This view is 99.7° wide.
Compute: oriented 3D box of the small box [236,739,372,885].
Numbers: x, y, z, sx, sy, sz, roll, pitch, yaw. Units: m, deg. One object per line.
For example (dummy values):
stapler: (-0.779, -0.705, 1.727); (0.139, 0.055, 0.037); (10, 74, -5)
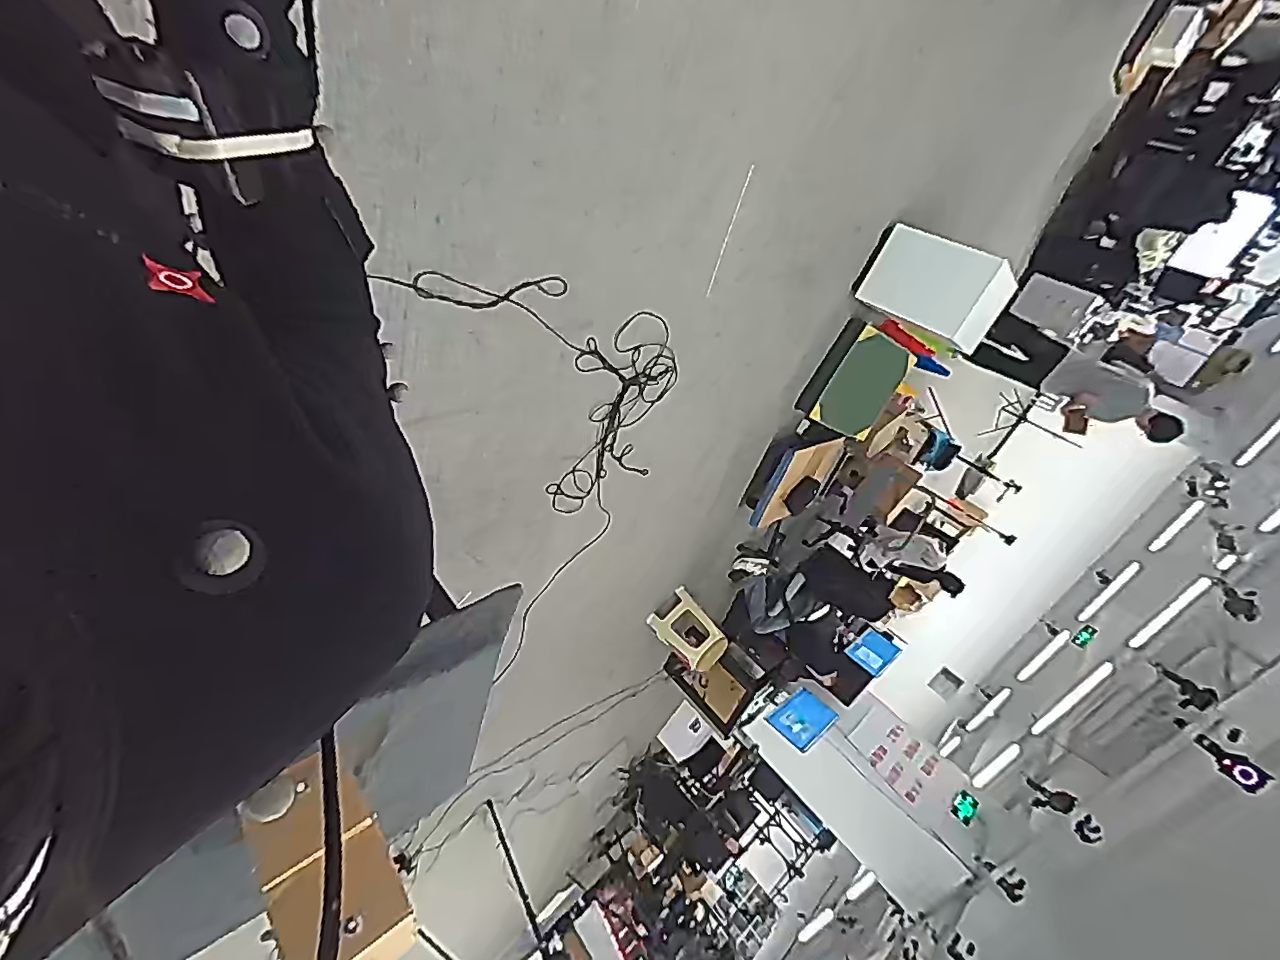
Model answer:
small box: (-0.598, 0.612, 0.981); (0.168, 0.176, 0.179); (-23, 140, -37)

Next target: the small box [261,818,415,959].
small box: (-0.498, 0.716, 0.904); (0.179, 0.176, 0.168); (-19, 137, -39)
